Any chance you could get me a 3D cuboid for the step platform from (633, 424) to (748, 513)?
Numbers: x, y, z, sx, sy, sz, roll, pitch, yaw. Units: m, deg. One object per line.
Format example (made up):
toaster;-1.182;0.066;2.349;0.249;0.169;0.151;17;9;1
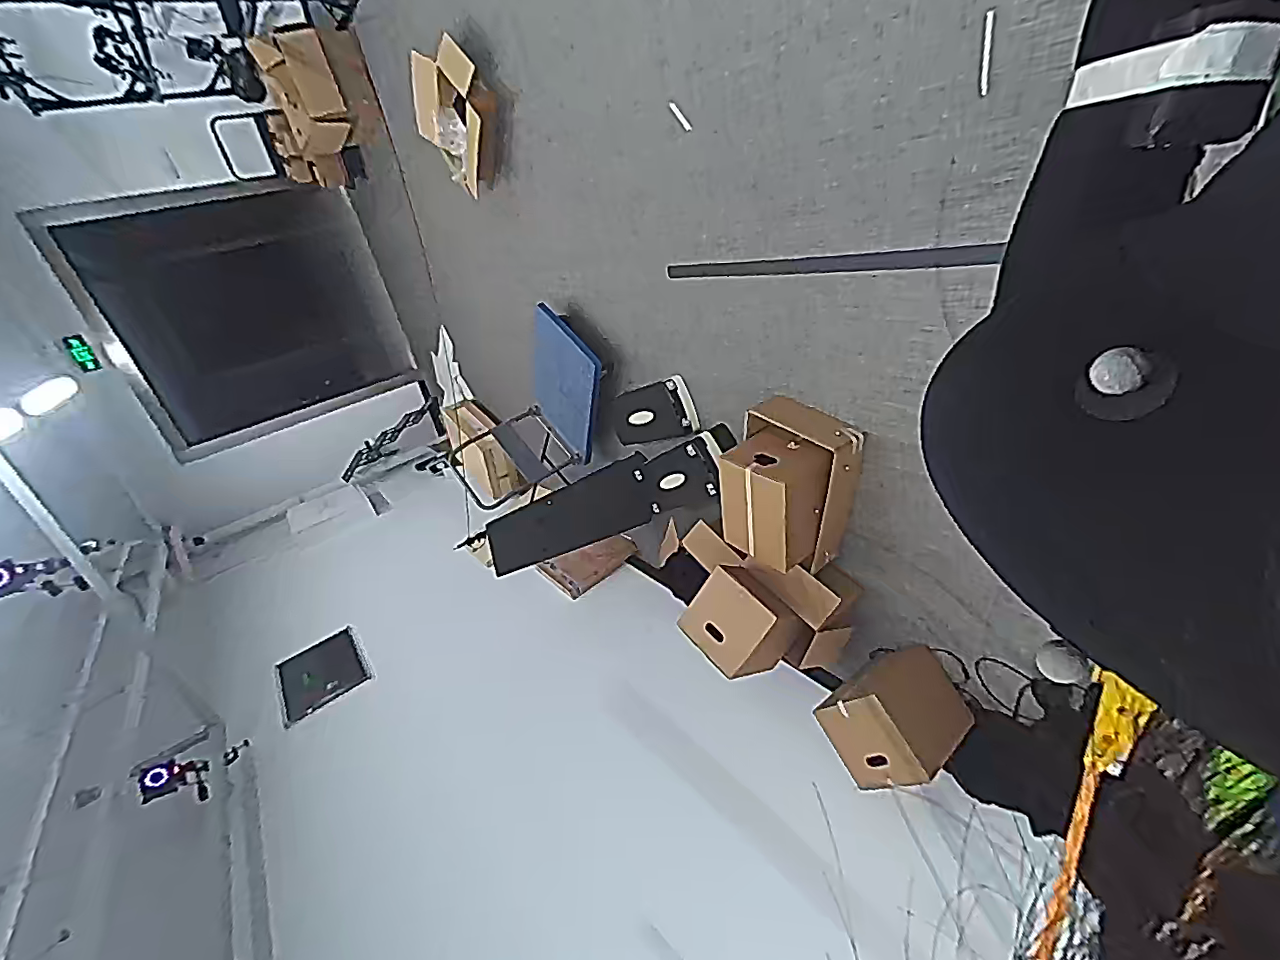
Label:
step platform;0.221;-0.037;2.668;0.286;0.204;0.684;62;151;-1
